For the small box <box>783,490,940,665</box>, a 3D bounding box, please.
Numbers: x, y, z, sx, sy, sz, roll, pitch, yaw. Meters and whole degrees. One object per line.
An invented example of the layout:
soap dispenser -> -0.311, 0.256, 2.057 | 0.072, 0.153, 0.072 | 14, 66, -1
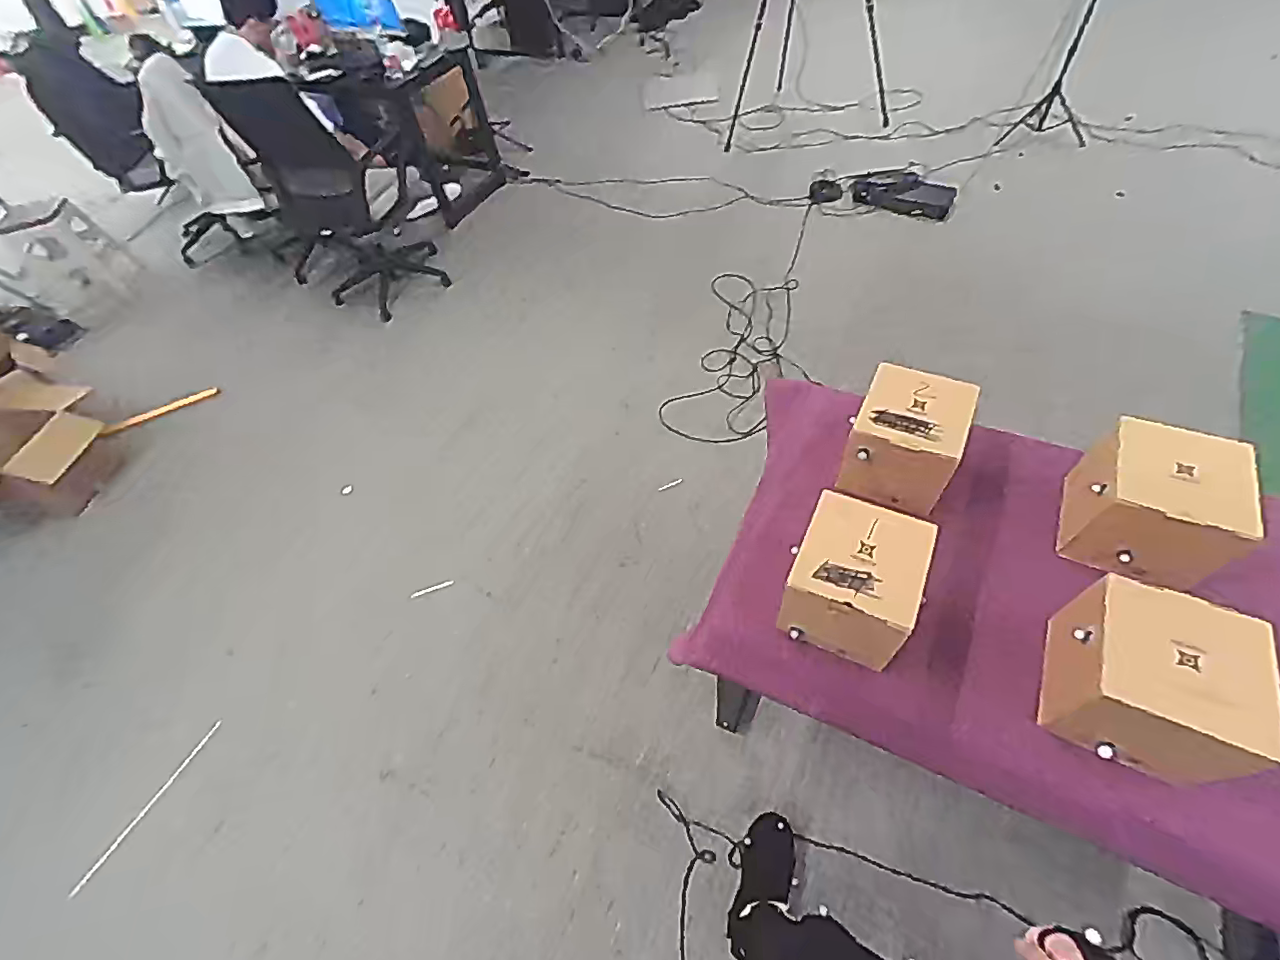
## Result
small box -> 0.323, 0.151, 0.815 | 0.168, 0.176, 0.179 | 20, 58, 20

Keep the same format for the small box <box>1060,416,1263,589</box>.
small box -> 0.791, 0.037, 0.840 | 0.168, 0.176, 0.179 | 20, 60, 20
